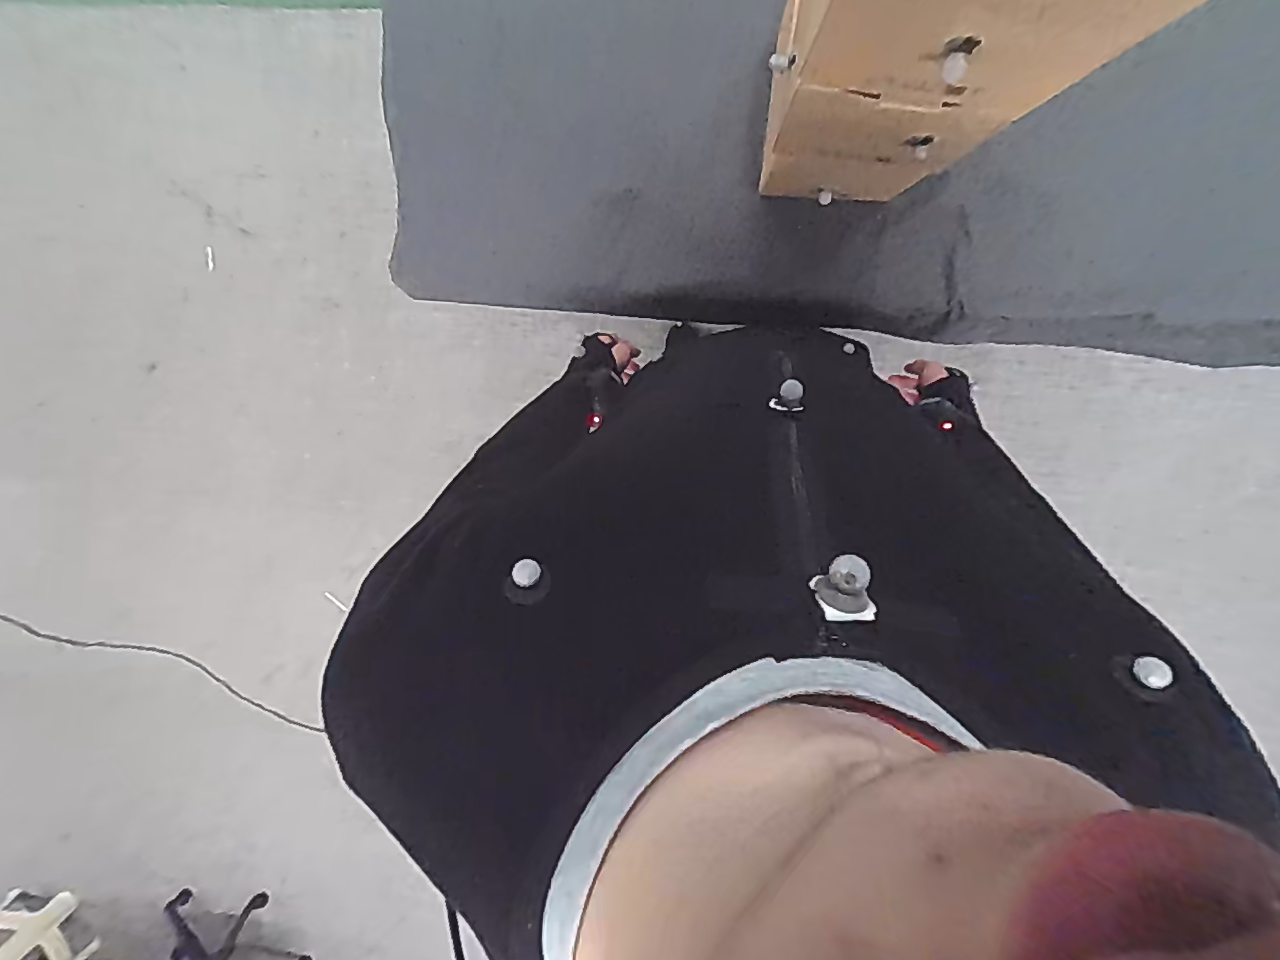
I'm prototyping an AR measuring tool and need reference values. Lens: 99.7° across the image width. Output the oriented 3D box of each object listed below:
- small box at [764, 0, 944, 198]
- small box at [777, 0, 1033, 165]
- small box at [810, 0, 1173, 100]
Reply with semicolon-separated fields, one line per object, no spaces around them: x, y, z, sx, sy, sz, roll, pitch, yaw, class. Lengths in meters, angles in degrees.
0.234;-0.425;0.589;0.168;0.176;0.179;6;108;5;small box
0.214;-0.376;0.436;0.168;0.176;0.179;9;106;3;small box
0.198;-0.330;0.280;0.168;0.176;0.179;11;109;3;small box
